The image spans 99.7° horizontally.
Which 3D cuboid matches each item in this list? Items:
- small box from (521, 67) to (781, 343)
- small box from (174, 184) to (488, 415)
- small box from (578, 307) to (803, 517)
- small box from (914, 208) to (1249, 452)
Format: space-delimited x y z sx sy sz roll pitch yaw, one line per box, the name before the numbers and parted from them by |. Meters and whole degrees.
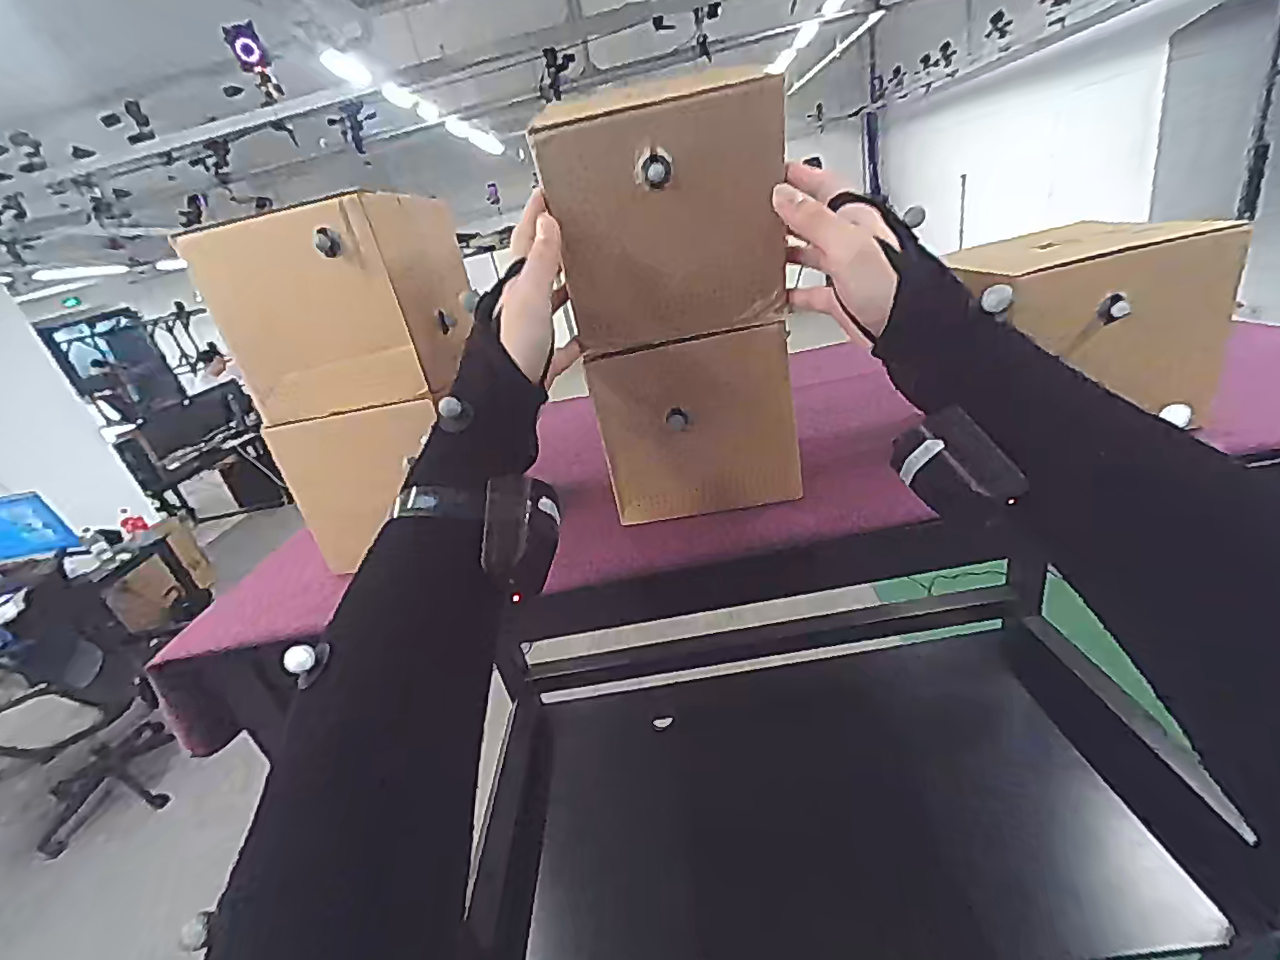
small box | 0.017 -0.232 0.466 0.179 0.176 0.168 -9 37 4
small box | -0.277 -0.171 0.530 0.179 0.176 0.168 -8 24 9
small box | 0.054 -0.077 0.550 0.179 0.176 0.168 -11 23 8
small box | 0.382 -0.138 0.505 0.179 0.176 0.168 -12 25 6
